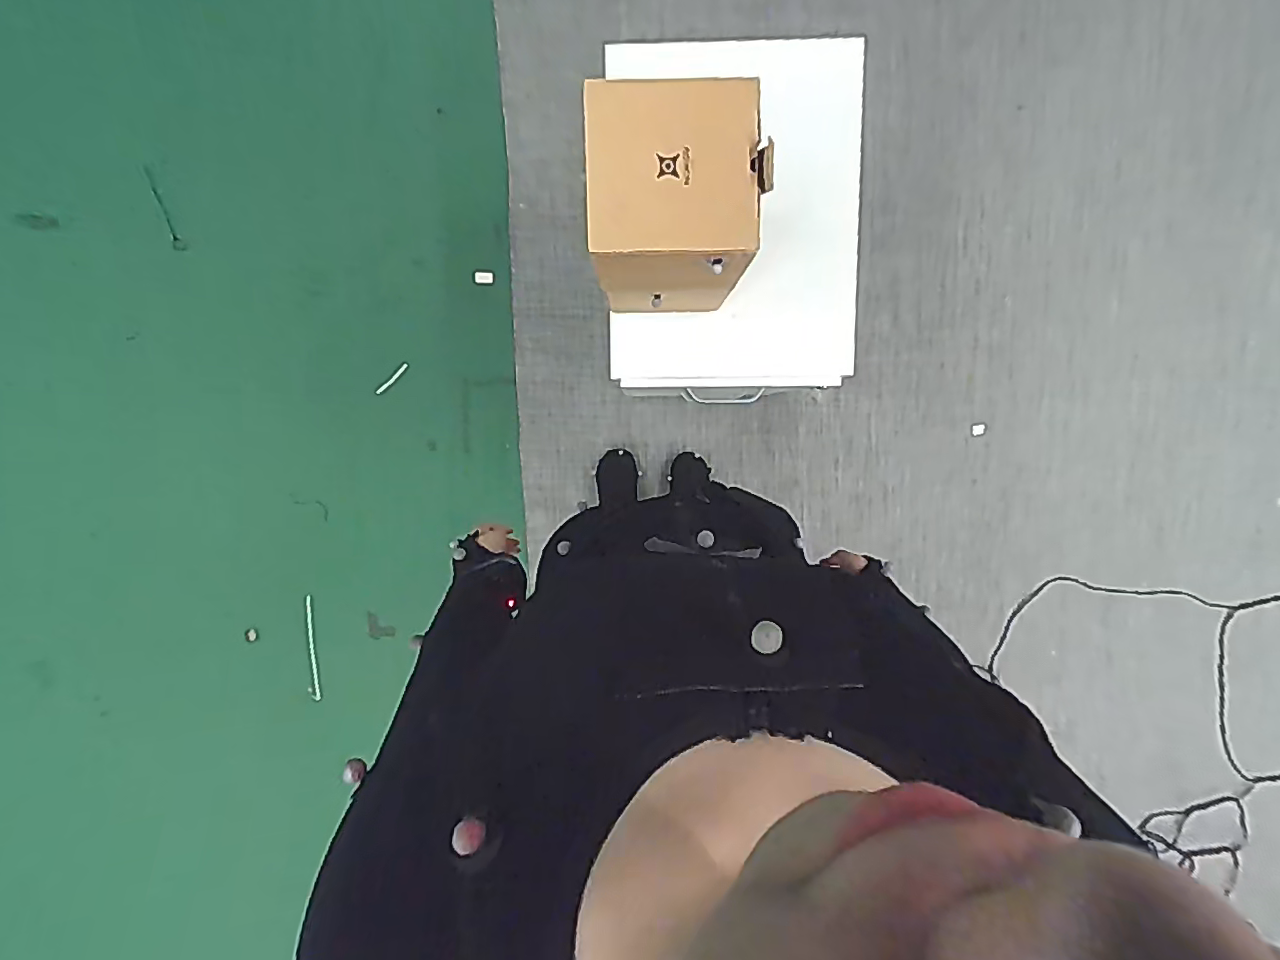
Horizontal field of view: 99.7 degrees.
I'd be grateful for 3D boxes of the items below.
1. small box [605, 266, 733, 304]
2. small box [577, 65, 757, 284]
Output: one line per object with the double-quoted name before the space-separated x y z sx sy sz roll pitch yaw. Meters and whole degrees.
"small box" 0.034 -0.352 0.770 0.179 0.176 0.168 -1 97 1
"small box" 0.028 -0.325 0.609 0.179 0.176 0.168 -2 97 0
